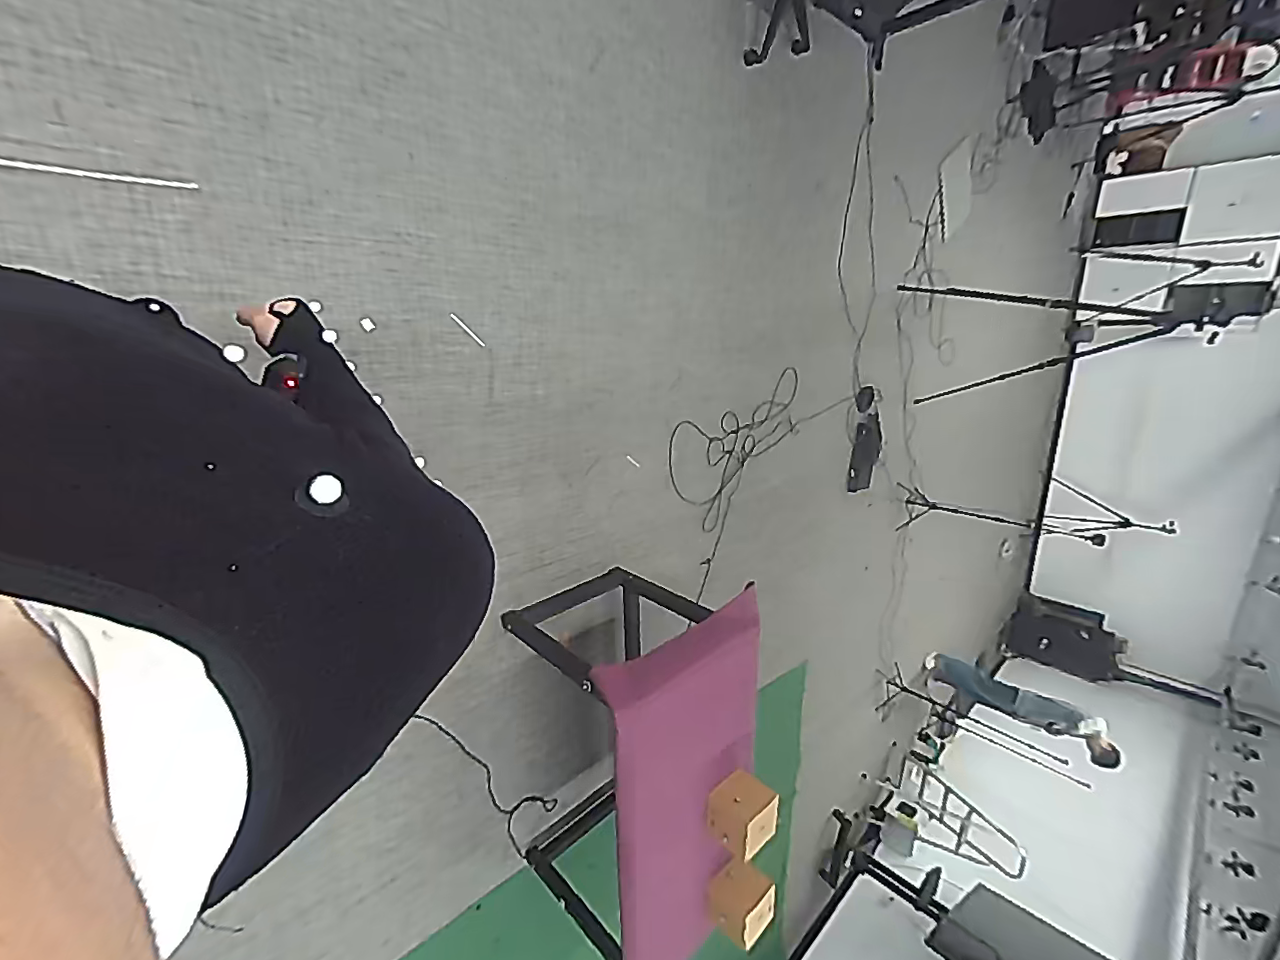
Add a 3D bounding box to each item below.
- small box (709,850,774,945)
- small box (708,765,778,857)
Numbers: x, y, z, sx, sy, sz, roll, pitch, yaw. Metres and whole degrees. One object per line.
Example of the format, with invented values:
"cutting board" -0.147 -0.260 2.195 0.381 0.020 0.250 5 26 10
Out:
"small box" 0.366 1.516 1.974 0.179 0.176 0.168 -15 111 -40
"small box" 0.350 1.126 1.854 0.179 0.176 0.168 -12 110 -41
